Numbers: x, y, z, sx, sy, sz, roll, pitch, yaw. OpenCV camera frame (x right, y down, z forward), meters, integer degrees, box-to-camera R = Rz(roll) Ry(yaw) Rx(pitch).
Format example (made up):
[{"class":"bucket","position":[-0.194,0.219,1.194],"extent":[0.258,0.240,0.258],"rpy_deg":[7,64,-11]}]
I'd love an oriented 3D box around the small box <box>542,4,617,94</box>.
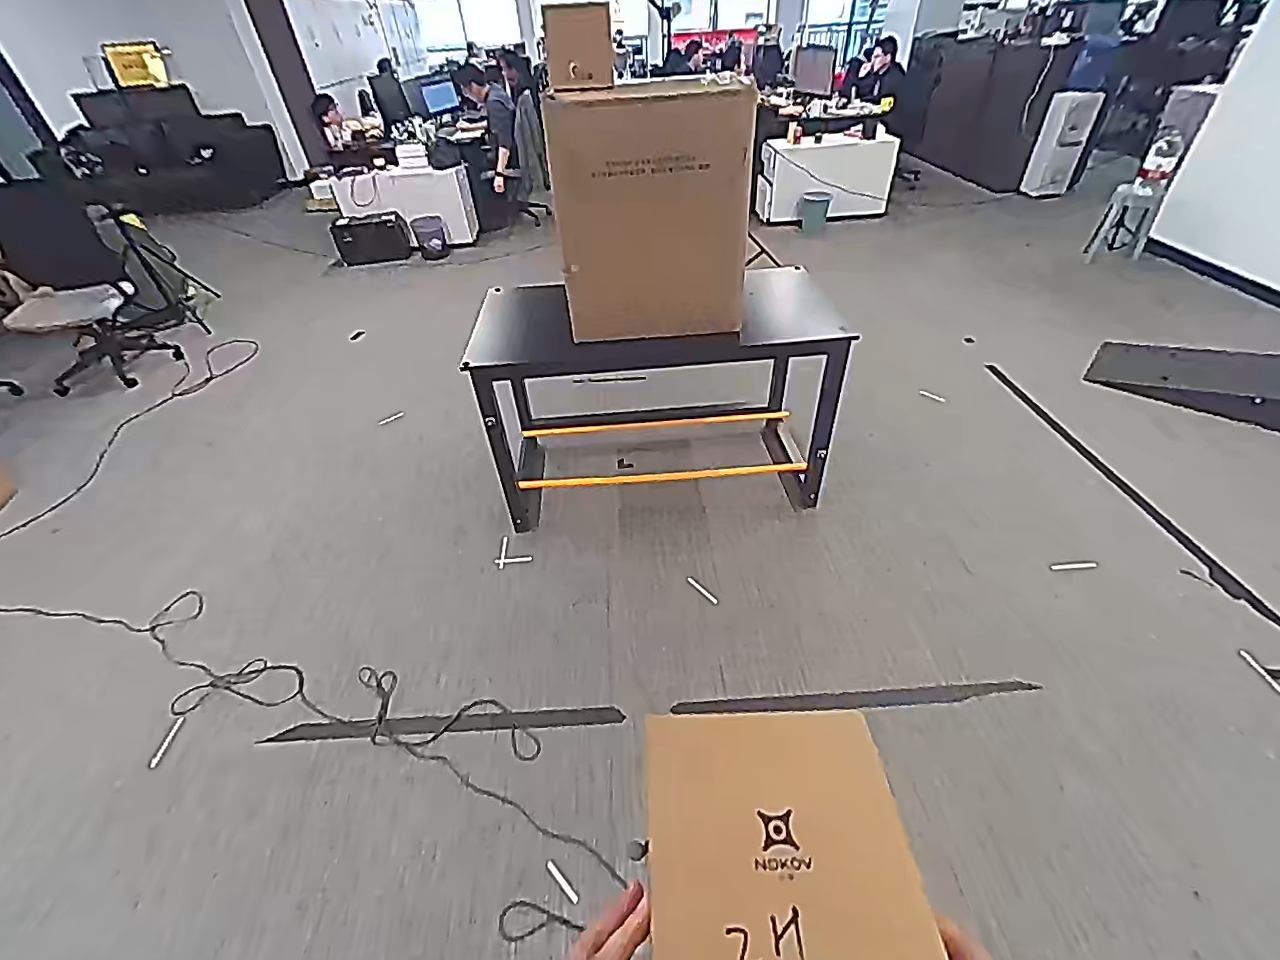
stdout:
[{"class":"small box","position":[-0.148,-1.094,1.378],"extent":[0.168,0.176,0.179],"rpy_deg":[-4,40,0]}]

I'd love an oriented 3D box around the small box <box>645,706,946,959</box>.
[{"class":"small box","position":[0.087,0.289,0.392],"extent":[0.168,0.176,0.179],"rpy_deg":[-2,40,0]}]
